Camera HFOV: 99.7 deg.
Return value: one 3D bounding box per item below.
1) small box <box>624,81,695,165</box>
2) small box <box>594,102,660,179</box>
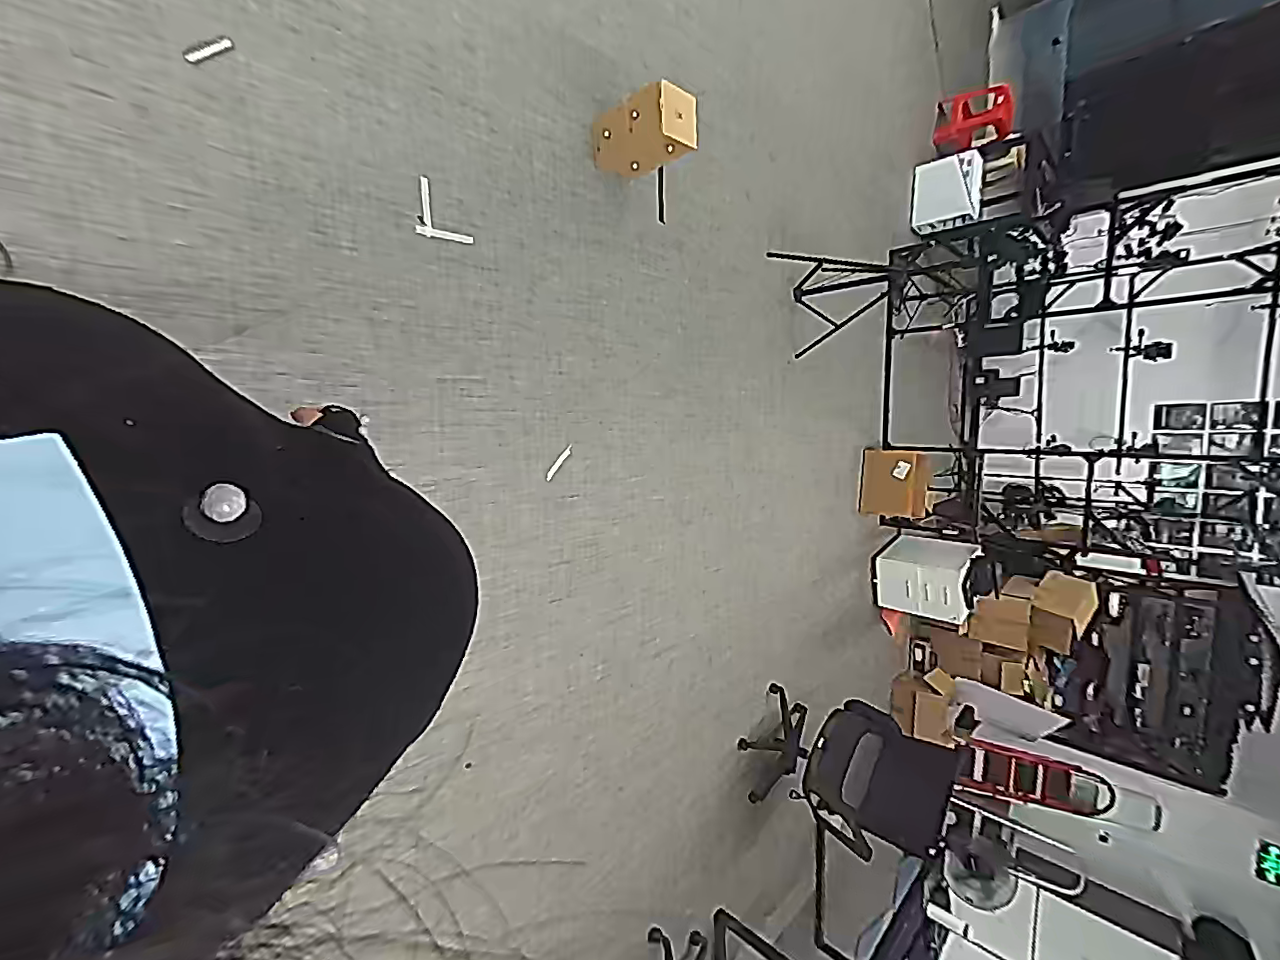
[{"bbox_3d":[0.066,-1.187,1.815,0.179,0.176,0.168,-10,101,-44],"label":"small box"},{"bbox_3d":[-0.052,-1.198,1.927,0.179,0.176,0.168,-12,103,-45],"label":"small box"}]
